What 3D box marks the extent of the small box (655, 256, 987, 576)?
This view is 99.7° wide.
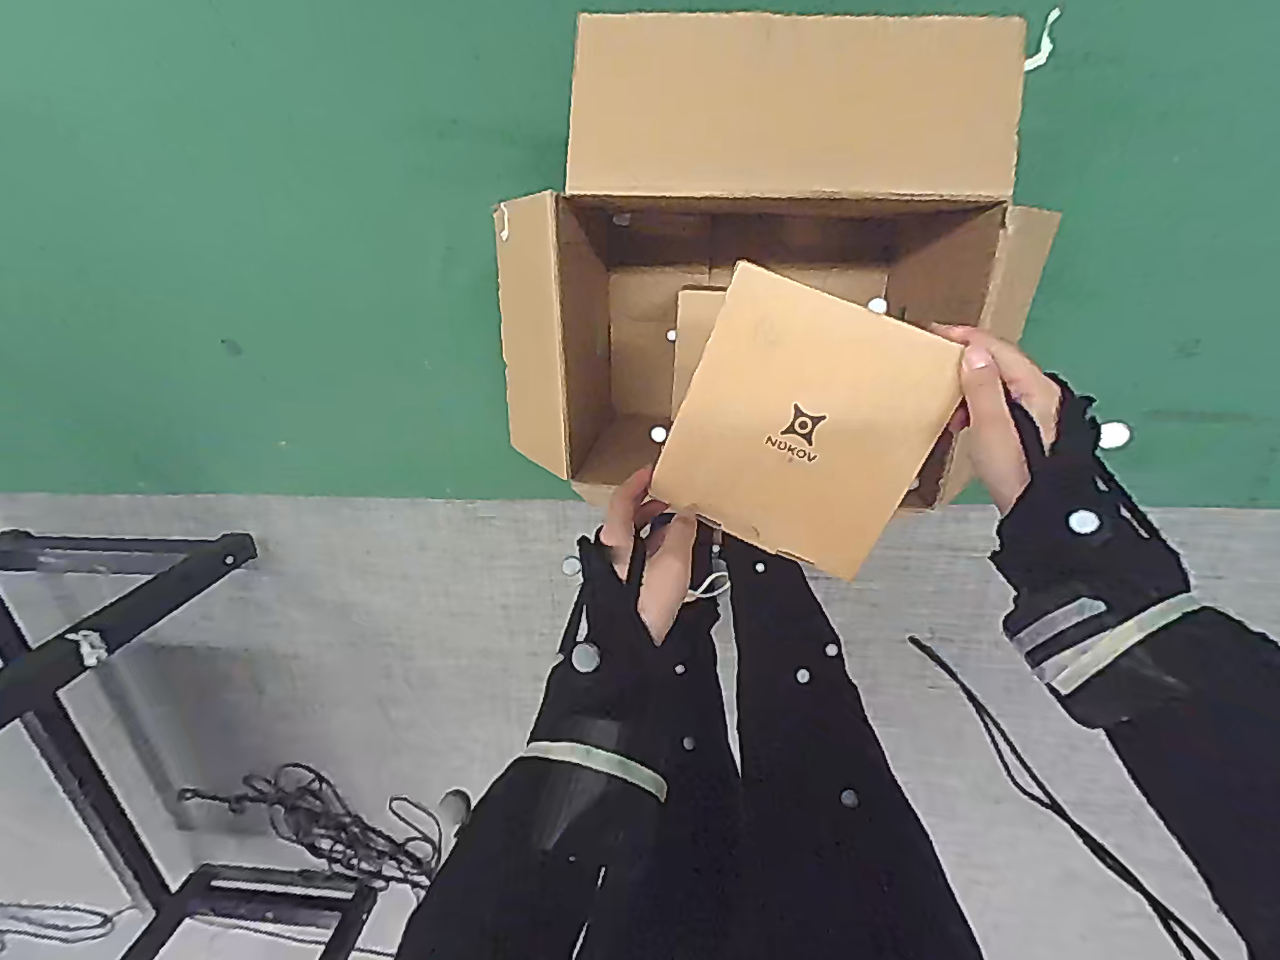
[{"bbox_3d":[0.128,-0.059,0.443,0.168,0.176,0.179,23,109,5],"label":"small box"}]
